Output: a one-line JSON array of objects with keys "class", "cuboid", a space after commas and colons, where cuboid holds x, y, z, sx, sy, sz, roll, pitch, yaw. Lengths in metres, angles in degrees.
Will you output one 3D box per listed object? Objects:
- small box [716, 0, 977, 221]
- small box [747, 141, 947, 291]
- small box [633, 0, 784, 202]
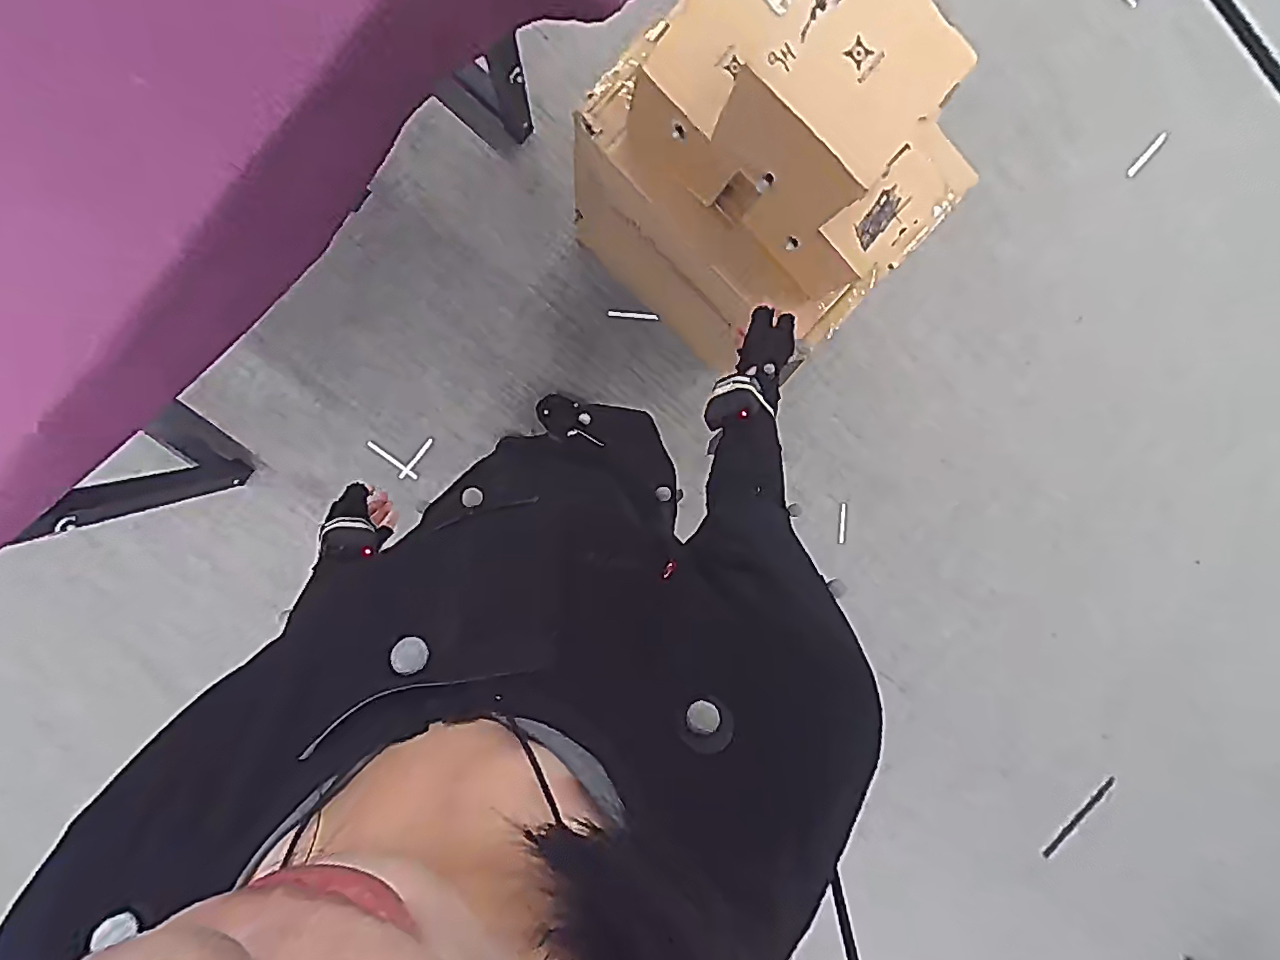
[{"class": "small box", "cuboid": [0.212, -0.421, 0.605, 0.179, 0.176, 0.168, 40, 94, -10]}, {"class": "small box", "cuboid": [0.284, -0.396, 0.781, 0.179, 0.176, 0.168, 44, 93, -8]}, {"class": "small box", "cuboid": [0.107, -0.525, 0.744, 0.179, 0.176, 0.168, 41, 94, -12]}]
